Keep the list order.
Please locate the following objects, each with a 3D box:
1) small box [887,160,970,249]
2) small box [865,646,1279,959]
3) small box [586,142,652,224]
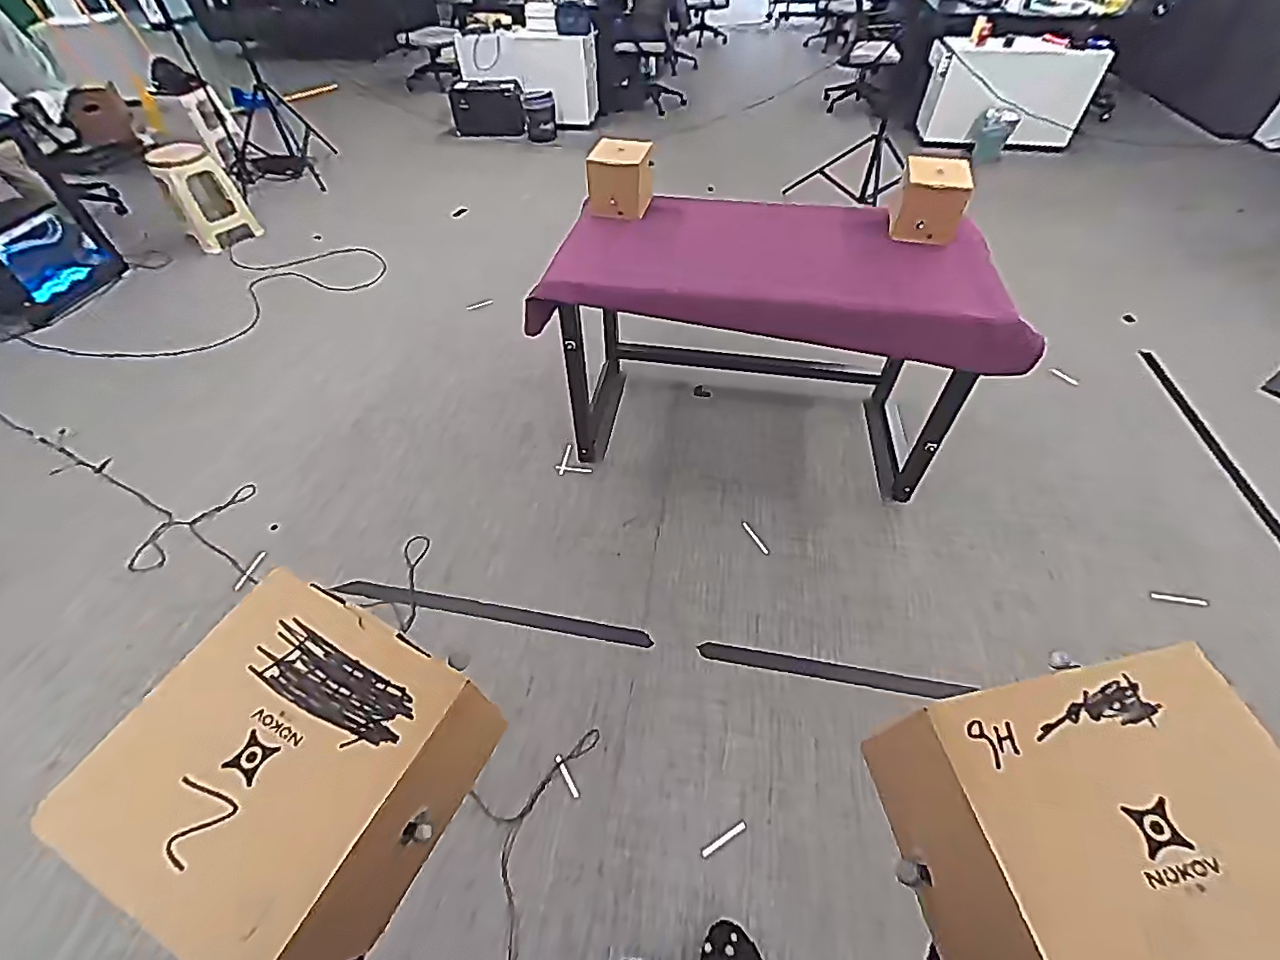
[{"bbox_3d":[0.837,-0.808,1.588,0.168,0.176,0.179,11,54,10],"label":"small box"},{"bbox_3d":[0.270,0.227,0.341,0.168,0.176,0.179,-12,58,-1],"label":"small box"},{"bbox_3d":[-0.063,-0.937,1.705,0.168,0.176,0.179,10,52,9],"label":"small box"}]
